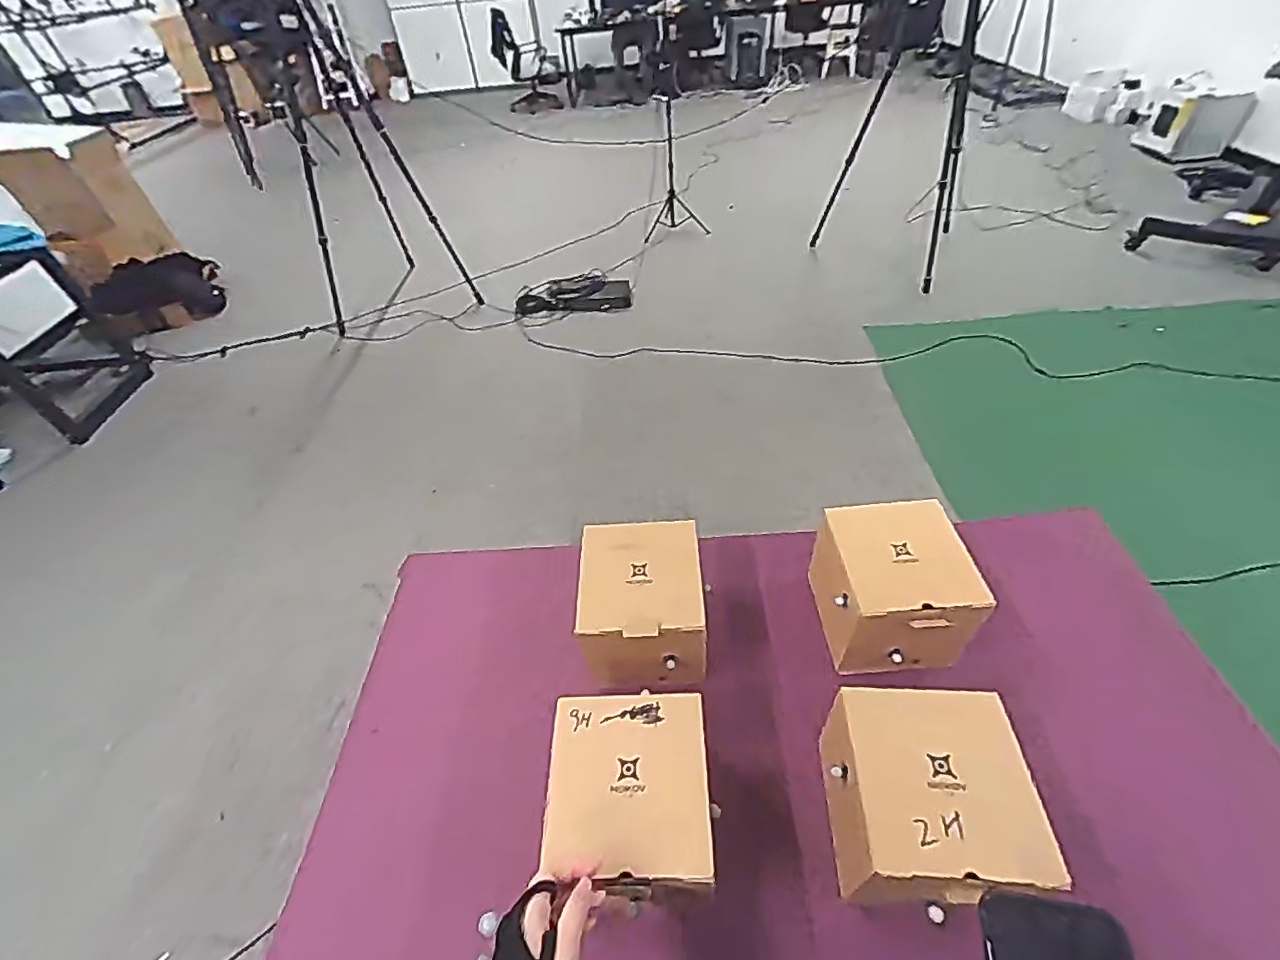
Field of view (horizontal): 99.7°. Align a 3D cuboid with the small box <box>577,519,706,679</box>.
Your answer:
[{"bbox_3d":[0.008,0.179,0.788,0.168,0.176,0.179,-3,46,3],"label":"small box"}]

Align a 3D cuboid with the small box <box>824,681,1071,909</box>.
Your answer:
[{"bbox_3d":[0.306,0.342,0.591,0.168,0.176,0.179,-1,46,7],"label":"small box"}]

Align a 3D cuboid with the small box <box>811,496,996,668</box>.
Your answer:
[{"bbox_3d":[0.356,0.146,0.775,0.168,0.176,0.179,-6,47,2],"label":"small box"}]

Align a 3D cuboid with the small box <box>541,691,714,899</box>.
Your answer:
[{"bbox_3d":[-0.004,0.360,0.613,0.168,0.176,0.179,-3,46,3],"label":"small box"}]
